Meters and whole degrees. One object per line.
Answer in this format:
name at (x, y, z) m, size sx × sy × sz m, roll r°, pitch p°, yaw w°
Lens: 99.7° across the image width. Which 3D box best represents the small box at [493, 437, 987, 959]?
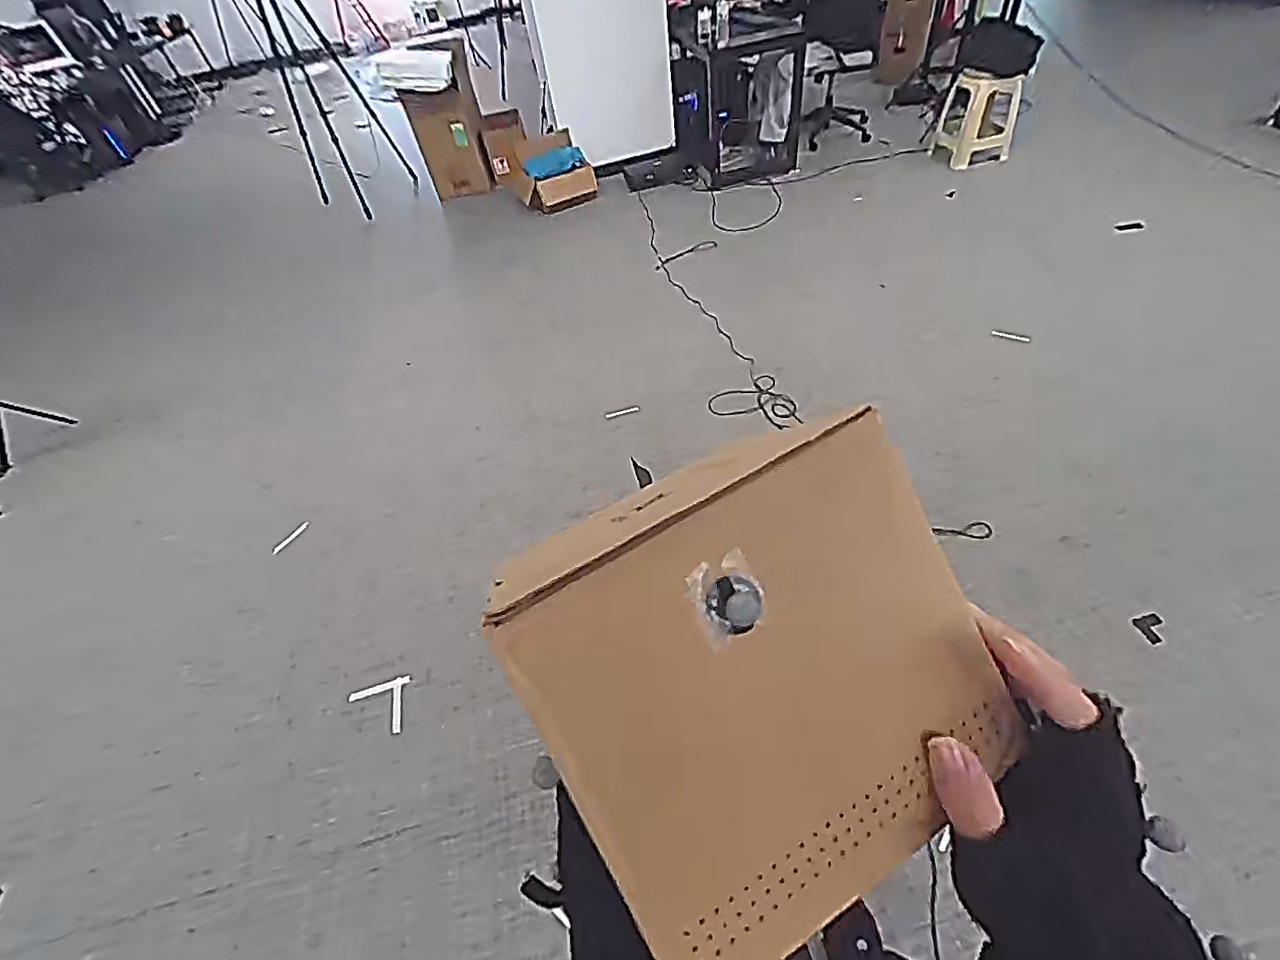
small box at (0.041, 0.098, 0.301) m, size 0.179 × 0.168 × 0.176 m, roll -28°, pitch 93°, yaw -12°
